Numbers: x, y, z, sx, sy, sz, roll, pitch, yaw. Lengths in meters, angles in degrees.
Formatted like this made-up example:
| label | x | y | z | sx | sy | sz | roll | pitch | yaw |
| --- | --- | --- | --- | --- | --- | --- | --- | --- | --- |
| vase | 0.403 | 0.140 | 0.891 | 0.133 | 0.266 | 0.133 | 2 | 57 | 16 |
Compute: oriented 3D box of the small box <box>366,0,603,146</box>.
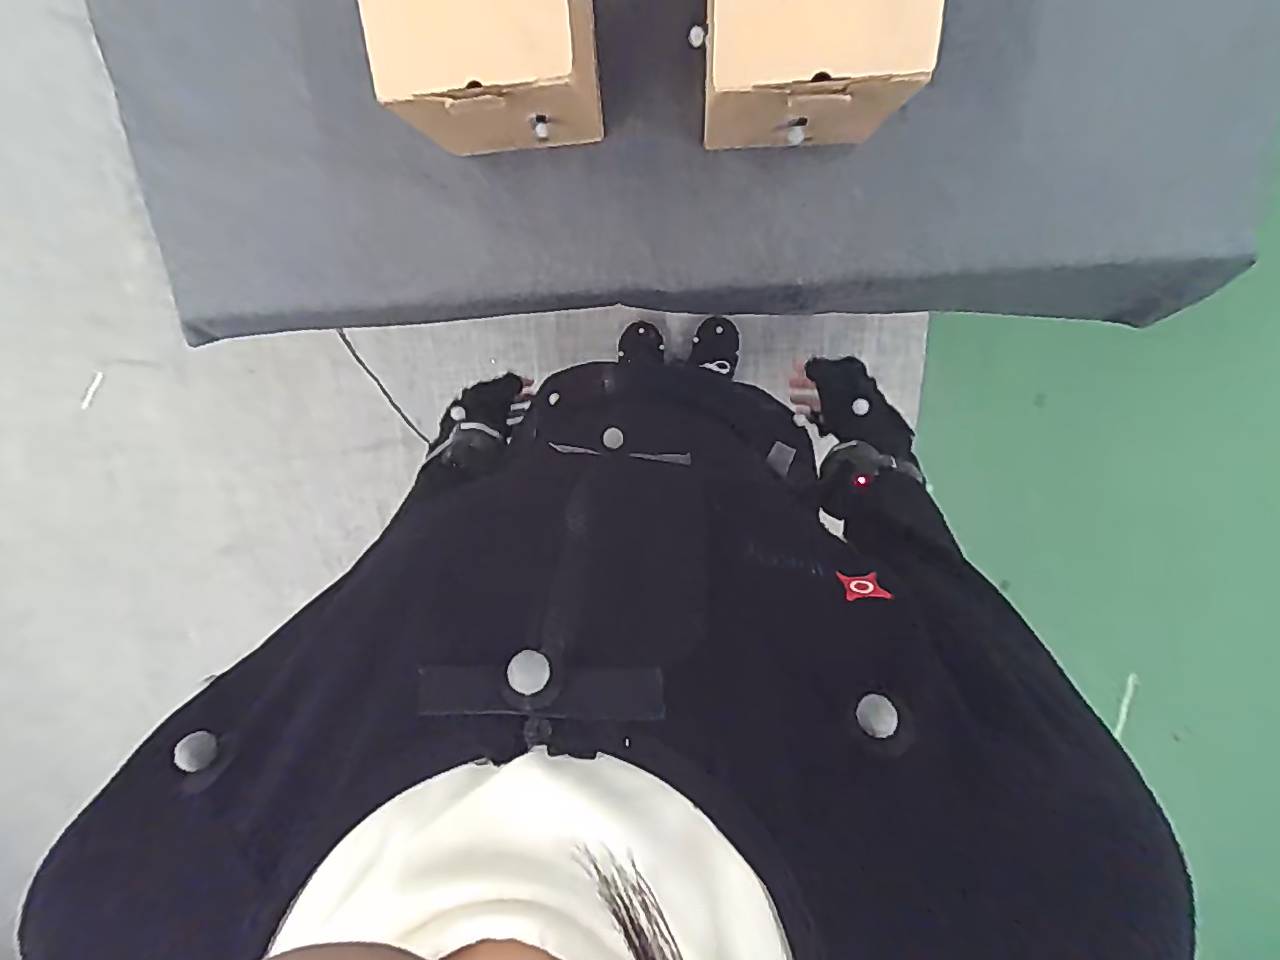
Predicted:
| label | x | y | z | sx | sy | sz | roll | pitch | yaw |
| --- | --- | --- | --- | --- | --- | --- | --- | --- | --- |
| small box | -0.130 | -0.421 | 0.486 | 0.168 | 0.176 | 0.179 | -3 | 106 | 5 |
